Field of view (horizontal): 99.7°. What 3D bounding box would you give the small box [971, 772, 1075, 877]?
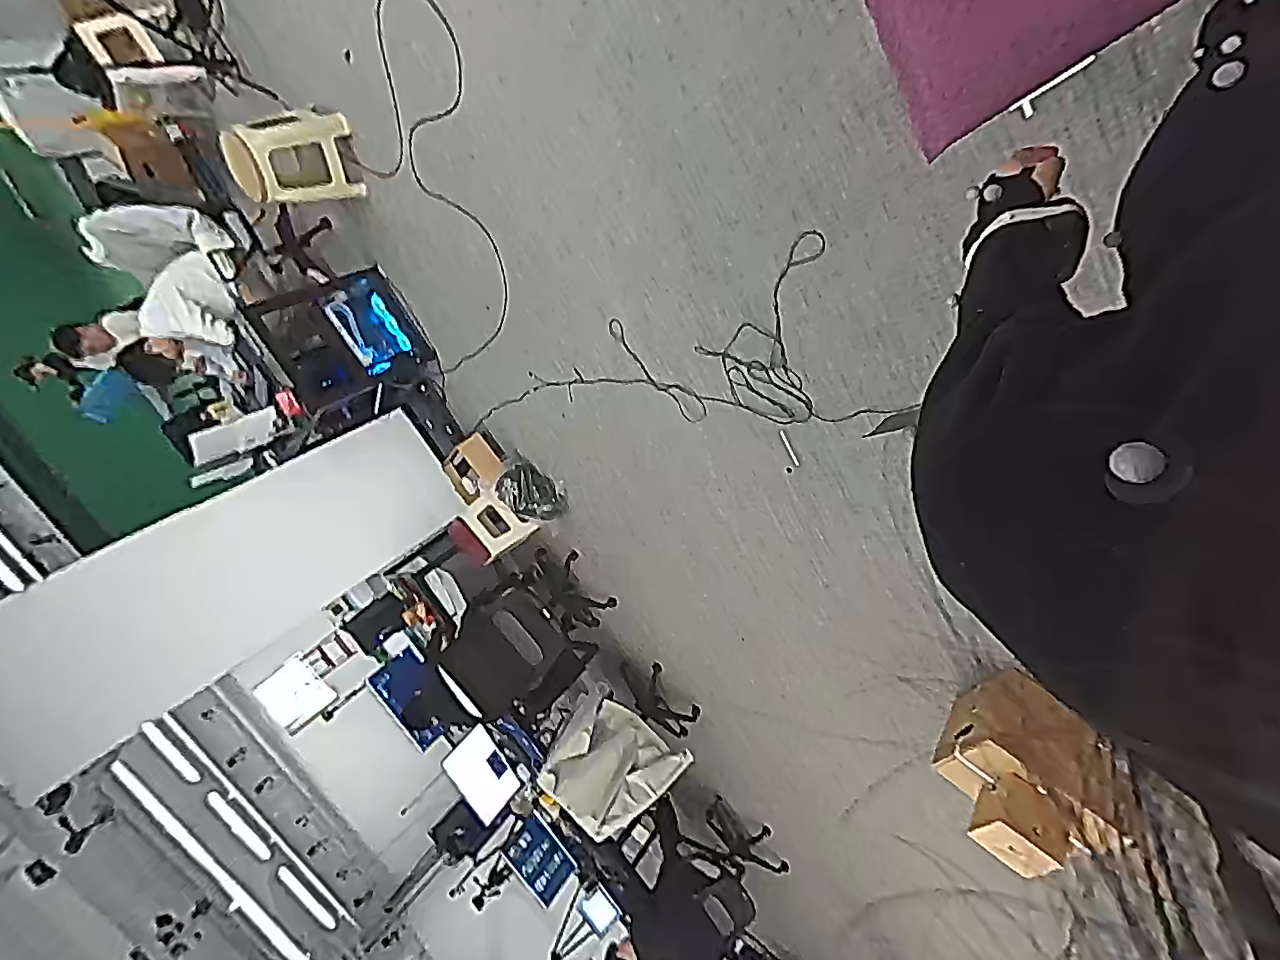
[{"bbox_3d":[1.107,0.990,1.559,0.179,0.176,0.168,34,139,22],"label":"small box"}]
